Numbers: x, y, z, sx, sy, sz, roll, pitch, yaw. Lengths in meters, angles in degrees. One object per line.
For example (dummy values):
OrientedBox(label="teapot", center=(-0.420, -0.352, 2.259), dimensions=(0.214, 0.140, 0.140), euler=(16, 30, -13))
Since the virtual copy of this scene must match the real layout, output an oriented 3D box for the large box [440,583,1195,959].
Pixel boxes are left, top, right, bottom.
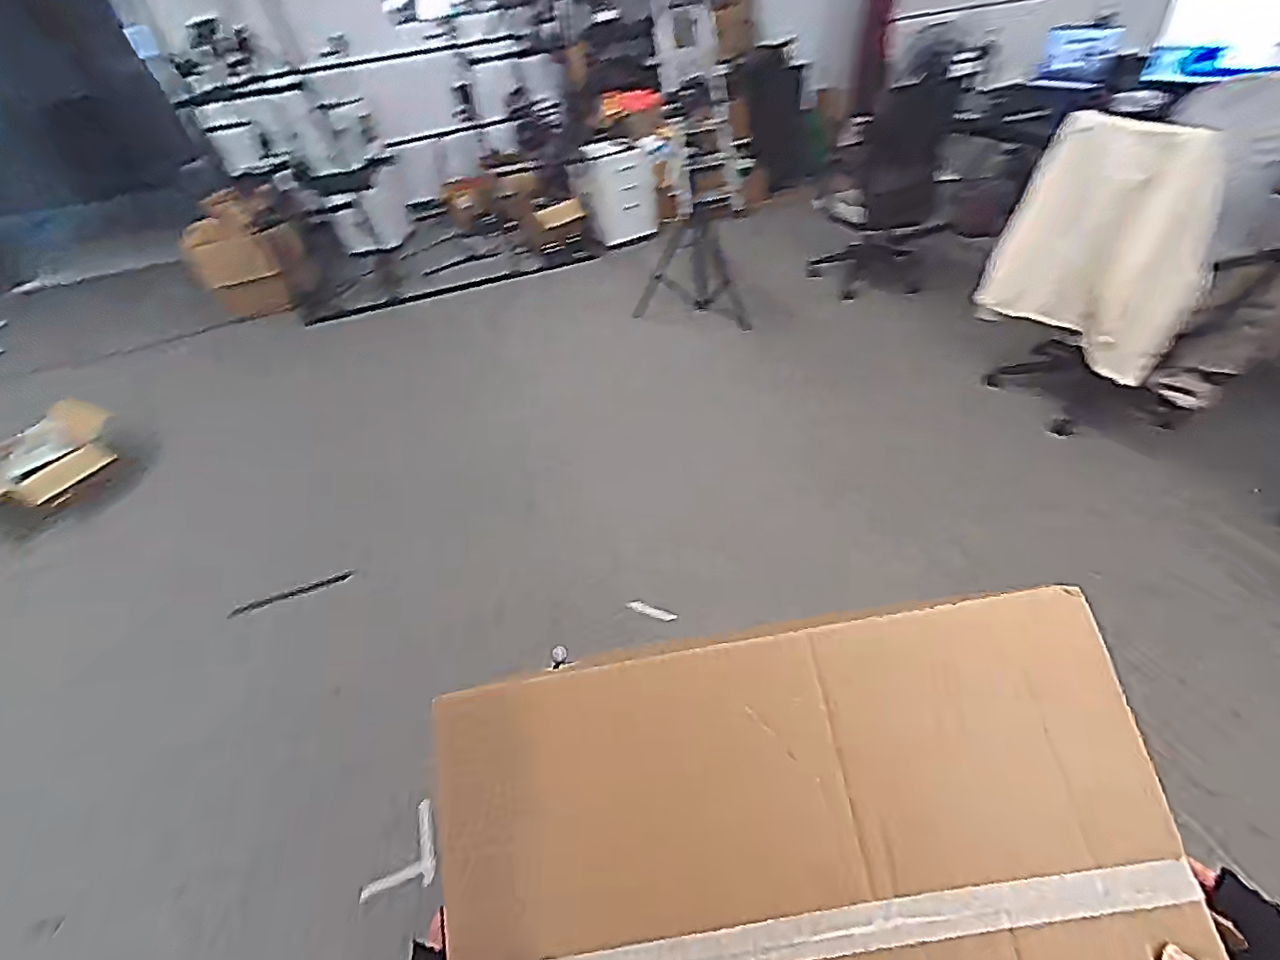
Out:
OrientedBox(label="large box", center=(0.103, 0.292, 0.449), dimensions=(0.408, 0.320, 0.320), euler=(-12, 75, 1))
